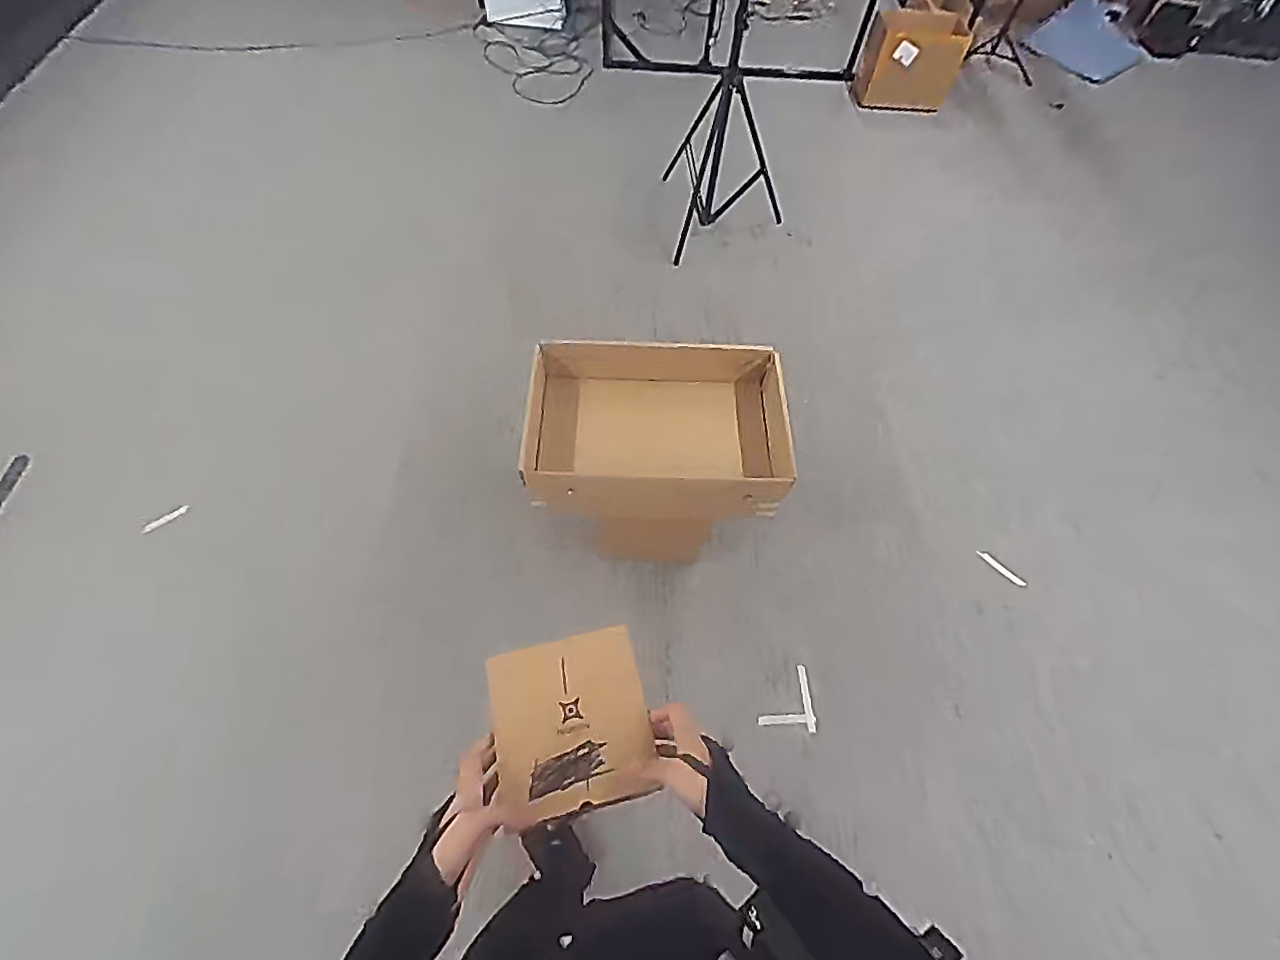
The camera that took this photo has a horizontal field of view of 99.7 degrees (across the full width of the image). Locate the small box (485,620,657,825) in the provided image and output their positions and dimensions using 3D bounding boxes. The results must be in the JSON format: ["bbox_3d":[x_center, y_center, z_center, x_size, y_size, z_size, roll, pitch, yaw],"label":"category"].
[{"bbox_3d":[-0.080,0.288,0.651,0.168,0.176,0.179,-11,62,-9],"label":"small box"}]
